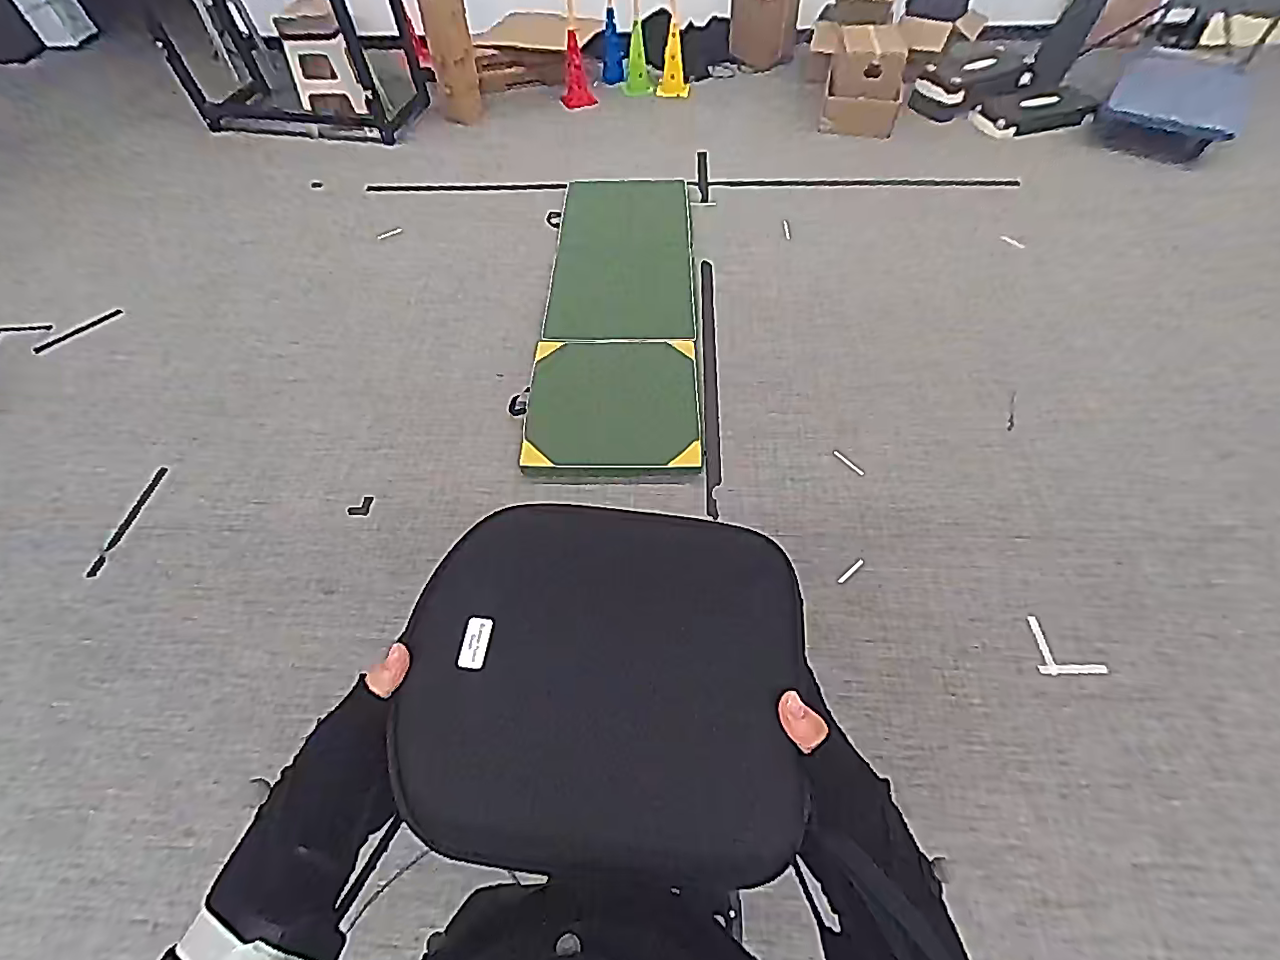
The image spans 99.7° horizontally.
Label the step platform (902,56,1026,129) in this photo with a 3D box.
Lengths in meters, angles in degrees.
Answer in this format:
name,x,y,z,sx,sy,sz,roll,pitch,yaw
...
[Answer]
name,x,y,z,sx,sy,sz,roll,pitch,yaw
step platform,1.923,-2.303,3.205,0.684,0.204,0.286,-24,59,-14
